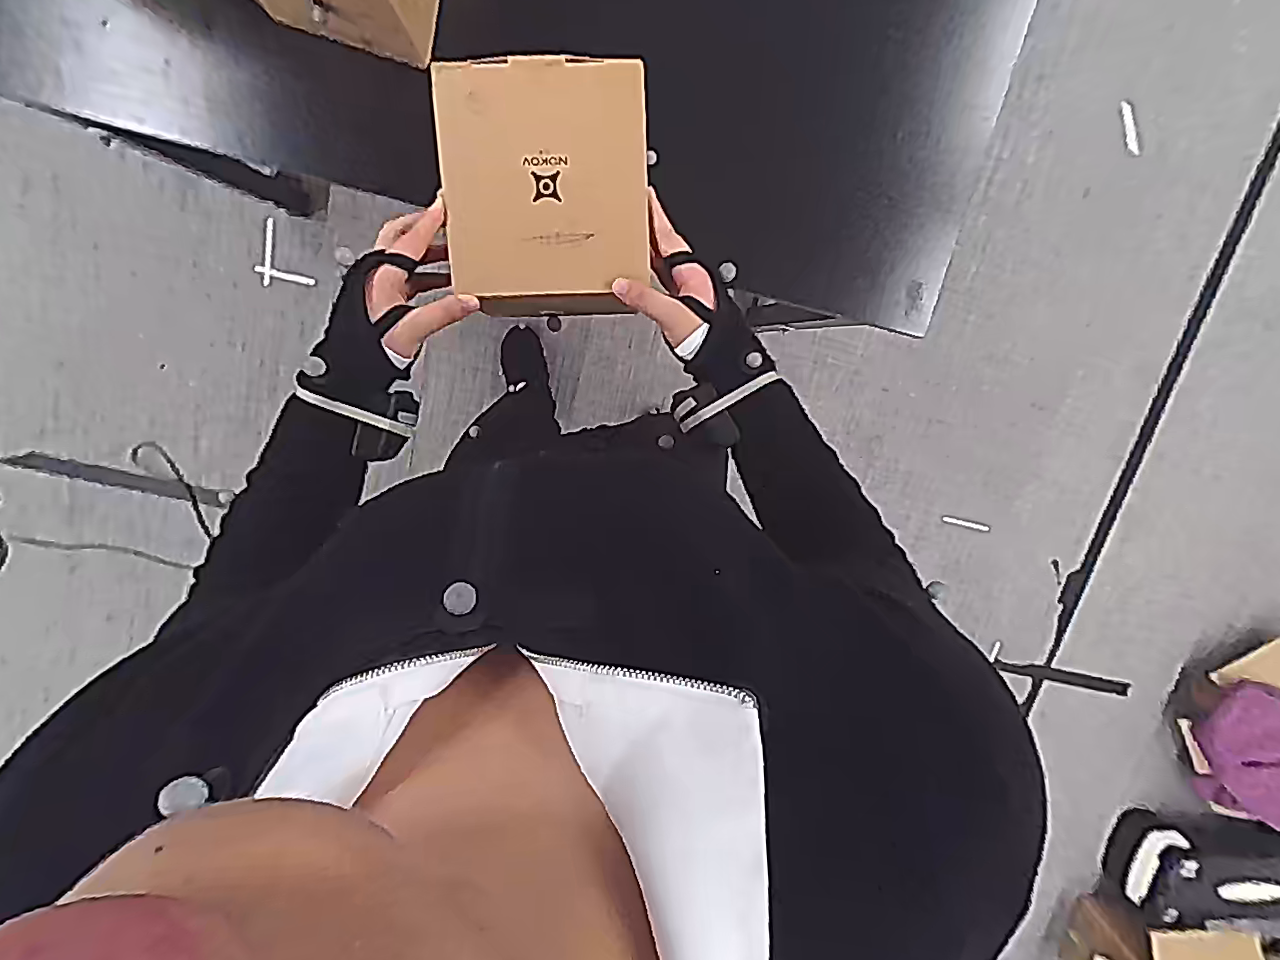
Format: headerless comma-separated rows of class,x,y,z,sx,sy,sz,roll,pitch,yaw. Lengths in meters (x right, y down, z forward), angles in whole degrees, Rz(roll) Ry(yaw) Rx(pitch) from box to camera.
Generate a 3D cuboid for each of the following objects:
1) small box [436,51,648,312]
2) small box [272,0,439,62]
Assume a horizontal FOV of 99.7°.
small box,-0.082,-0.260,0.513,0.168,0.176,0.179,-2,101,-3
small box,-0.285,-0.542,0.503,0.168,0.176,0.179,13,103,-9
